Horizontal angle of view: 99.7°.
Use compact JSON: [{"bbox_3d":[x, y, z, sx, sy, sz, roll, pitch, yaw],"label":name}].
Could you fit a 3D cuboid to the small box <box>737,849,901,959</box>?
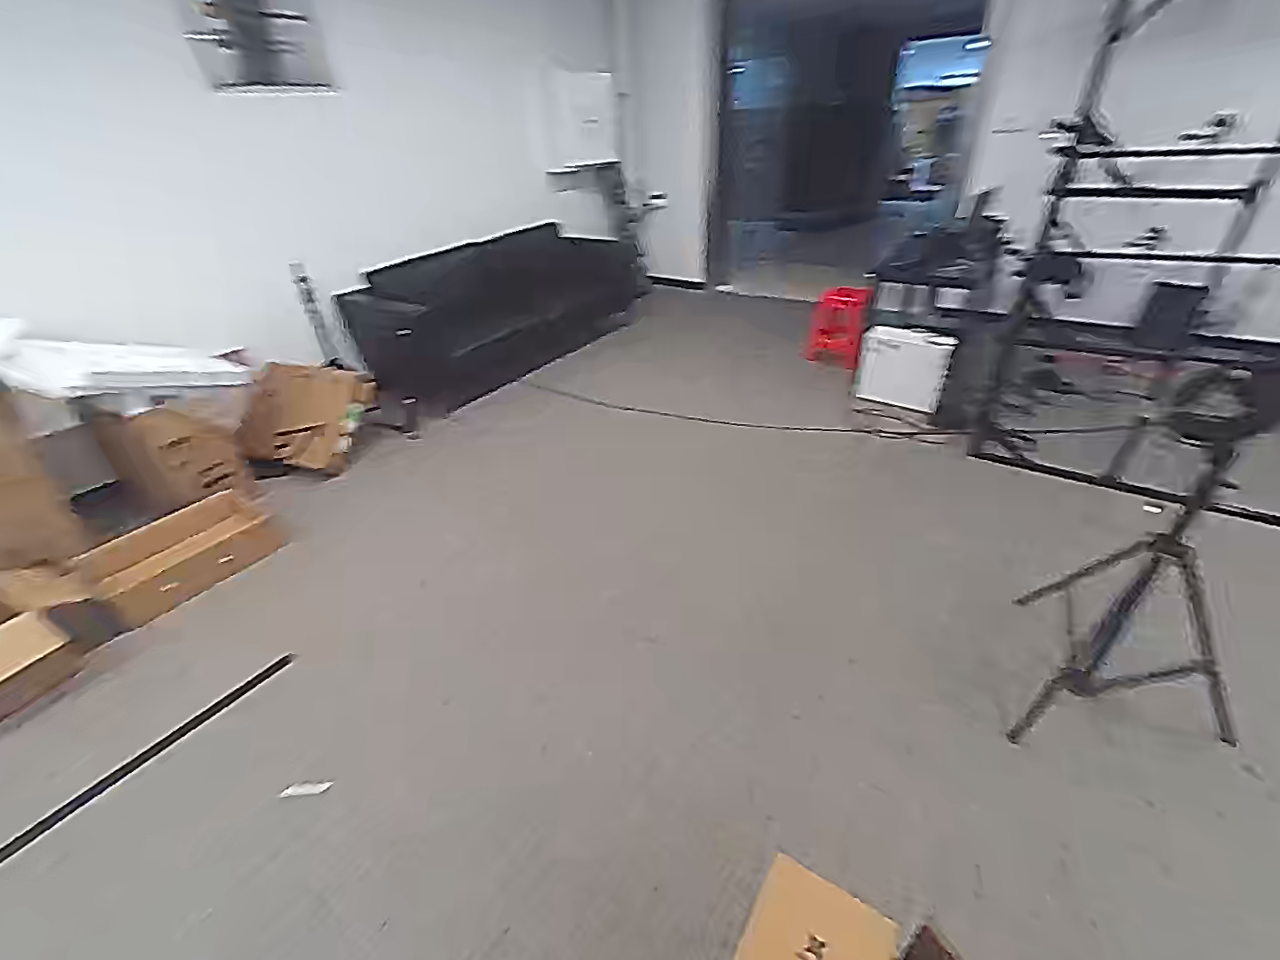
[{"bbox_3d":[0.233,0.661,0.729,0.168,0.176,0.179,16,41,31],"label":"small box"}]
